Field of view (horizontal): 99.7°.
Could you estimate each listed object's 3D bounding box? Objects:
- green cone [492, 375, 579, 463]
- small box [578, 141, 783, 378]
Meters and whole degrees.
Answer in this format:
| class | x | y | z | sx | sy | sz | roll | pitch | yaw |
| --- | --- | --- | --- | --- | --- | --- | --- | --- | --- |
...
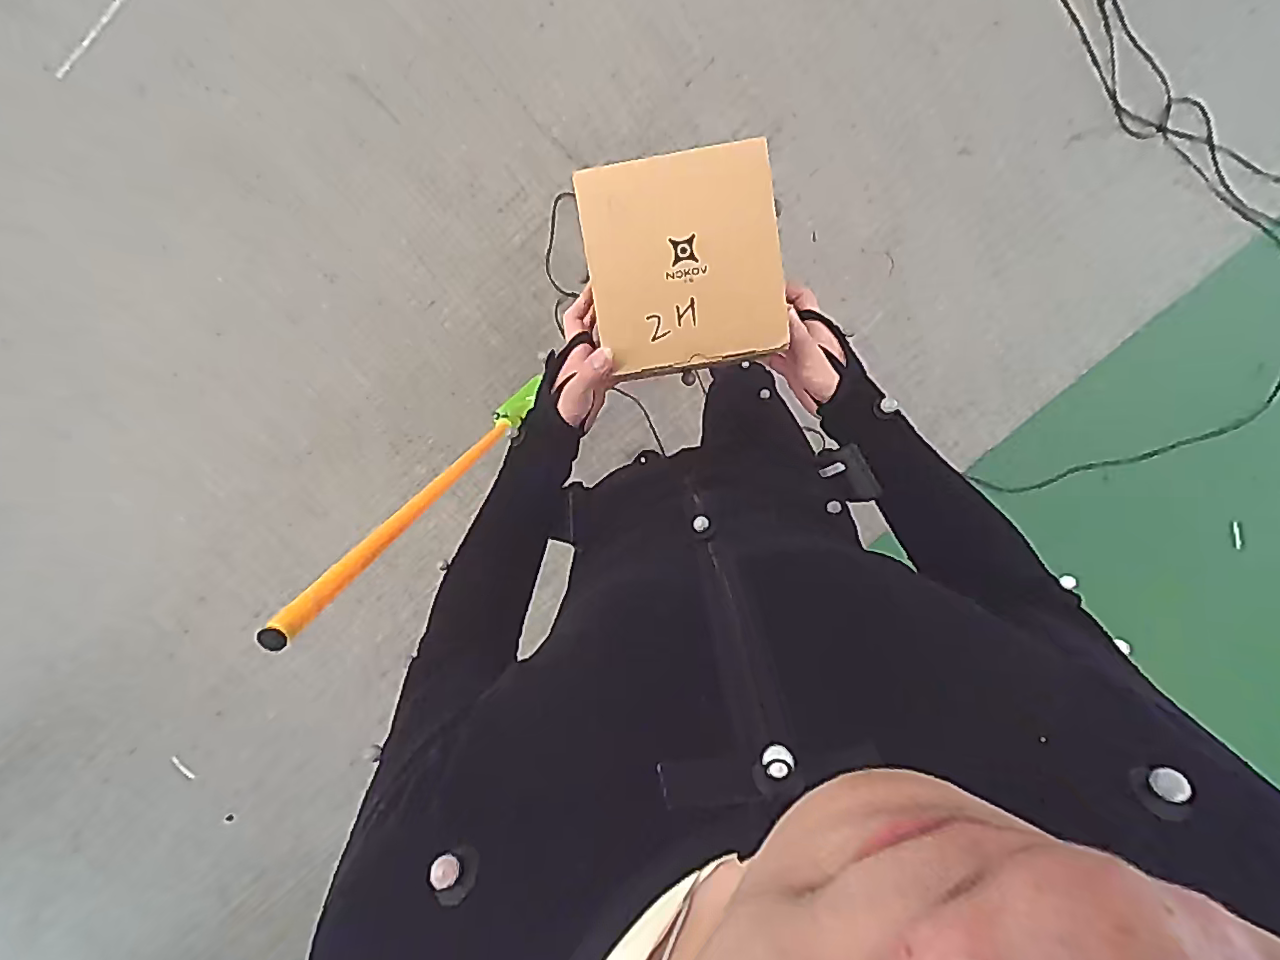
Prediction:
| class | x | y | z | sx | sy | sz | roll | pitch | yaw |
| --- | --- | --- | --- | --- | --- | --- | --- | --- | --- |
| green cone | -0.309 | -0.153 | 1.426 | 0.202 | 0.368 | 0.200 | -39 | 97 | 6 |
| small box | 0.037 | -0.205 | 0.552 | 0.168 | 0.176 | 0.179 | -8 | 99 | 2 |
